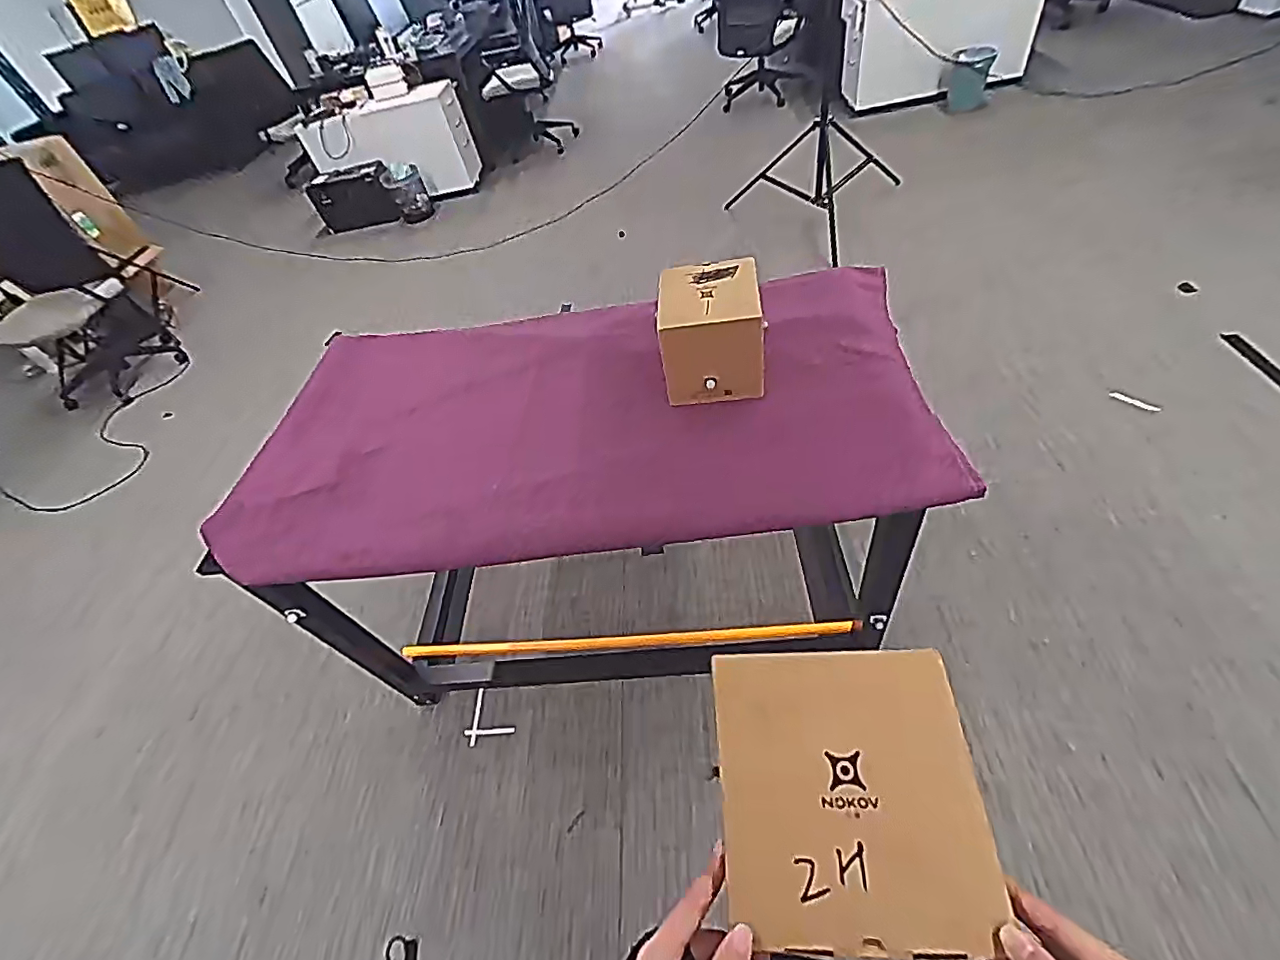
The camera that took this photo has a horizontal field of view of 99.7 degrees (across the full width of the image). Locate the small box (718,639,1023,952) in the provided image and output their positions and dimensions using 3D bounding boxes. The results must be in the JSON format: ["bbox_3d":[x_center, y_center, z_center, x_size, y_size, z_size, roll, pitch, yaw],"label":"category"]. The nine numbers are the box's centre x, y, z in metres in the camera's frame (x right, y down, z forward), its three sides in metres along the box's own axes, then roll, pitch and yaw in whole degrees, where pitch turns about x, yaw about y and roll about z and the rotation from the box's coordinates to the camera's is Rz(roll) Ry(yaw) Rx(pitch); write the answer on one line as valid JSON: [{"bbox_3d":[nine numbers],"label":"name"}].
[{"bbox_3d":[0.147,0.237,0.423,0.168,0.176,0.179,-4,57,8],"label":"small box"}]

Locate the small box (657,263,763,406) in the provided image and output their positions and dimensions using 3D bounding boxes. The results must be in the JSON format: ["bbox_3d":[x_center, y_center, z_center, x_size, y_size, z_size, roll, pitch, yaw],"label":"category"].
[{"bbox_3d":[0.127,-0.253,0.950,0.168,0.176,0.179,-4,50,10],"label":"small box"}]
